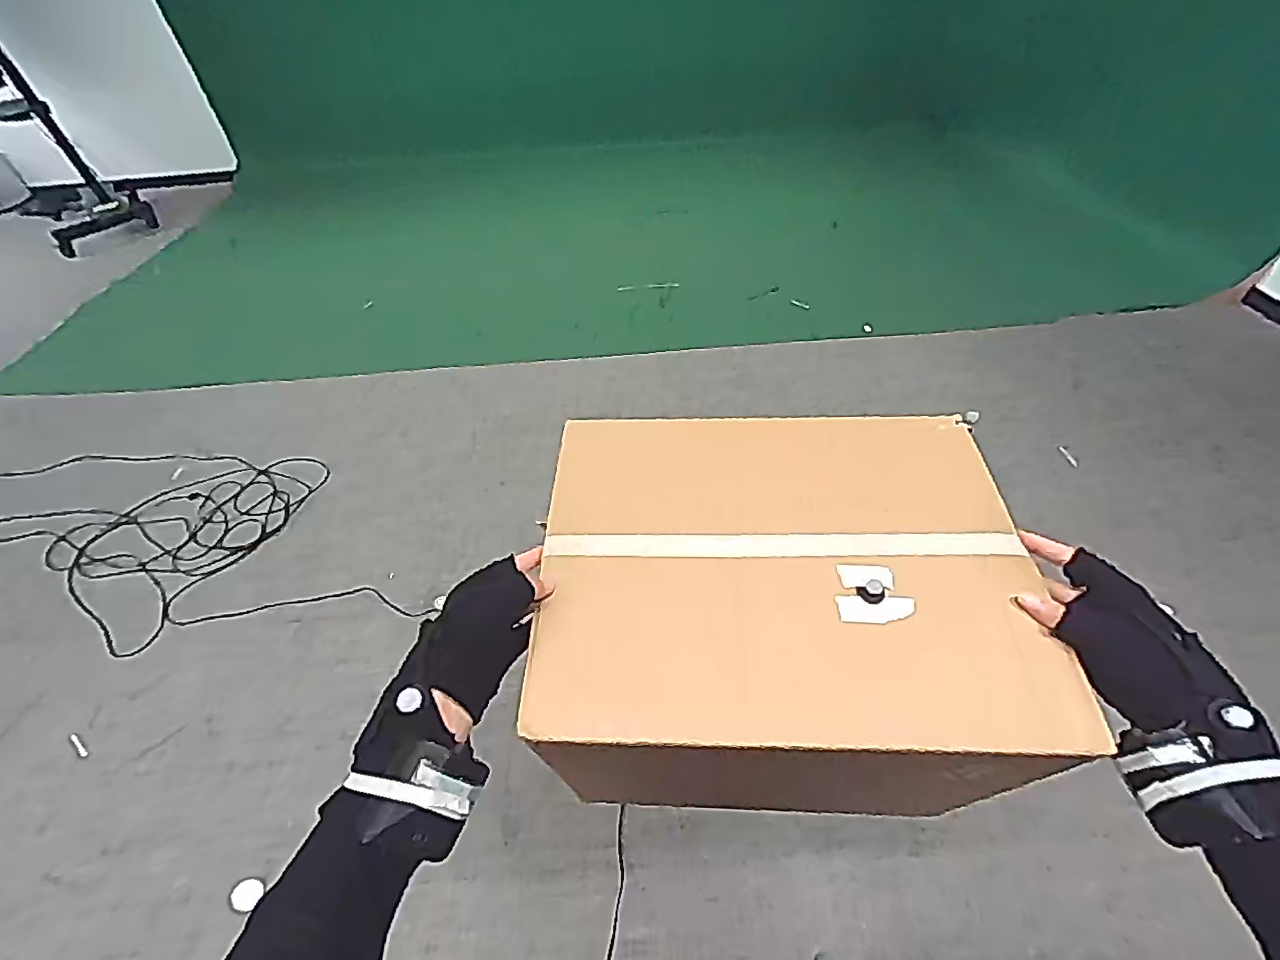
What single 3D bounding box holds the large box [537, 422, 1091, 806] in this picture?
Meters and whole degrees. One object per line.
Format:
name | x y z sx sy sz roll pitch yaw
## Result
large box | 0.129 0.157 0.594 0.408 0.320 0.320 -1 53 4
